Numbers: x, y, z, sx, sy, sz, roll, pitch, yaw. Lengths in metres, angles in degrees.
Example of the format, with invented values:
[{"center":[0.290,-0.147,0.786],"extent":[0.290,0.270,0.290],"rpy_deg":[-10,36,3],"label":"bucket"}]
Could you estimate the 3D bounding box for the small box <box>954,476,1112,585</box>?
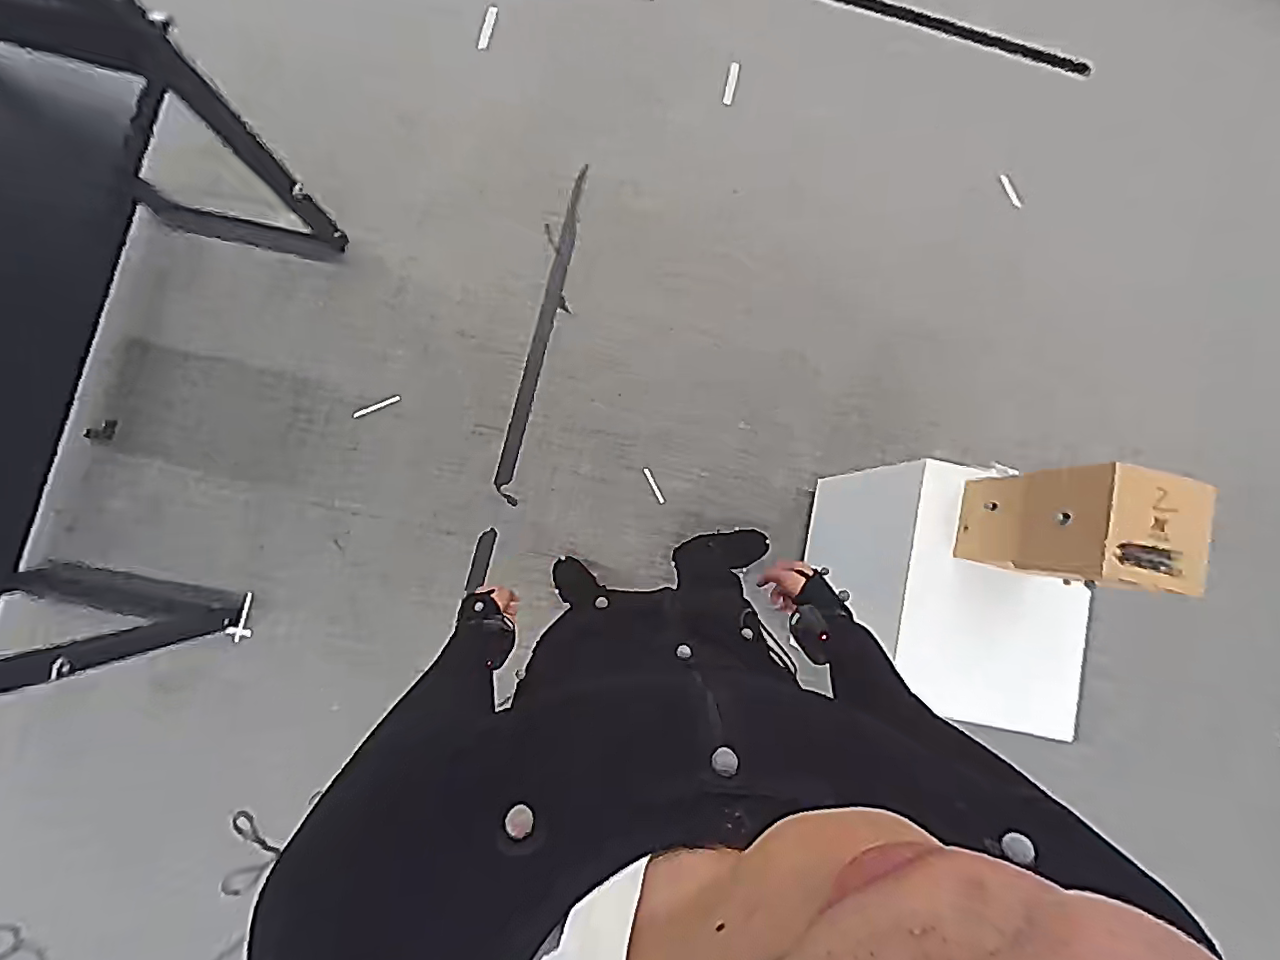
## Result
[{"center":[0.745,0.097,1.042],"extent":[0.179,0.176,0.168],"rpy_deg":[13,85,-4],"label":"small box"}]
